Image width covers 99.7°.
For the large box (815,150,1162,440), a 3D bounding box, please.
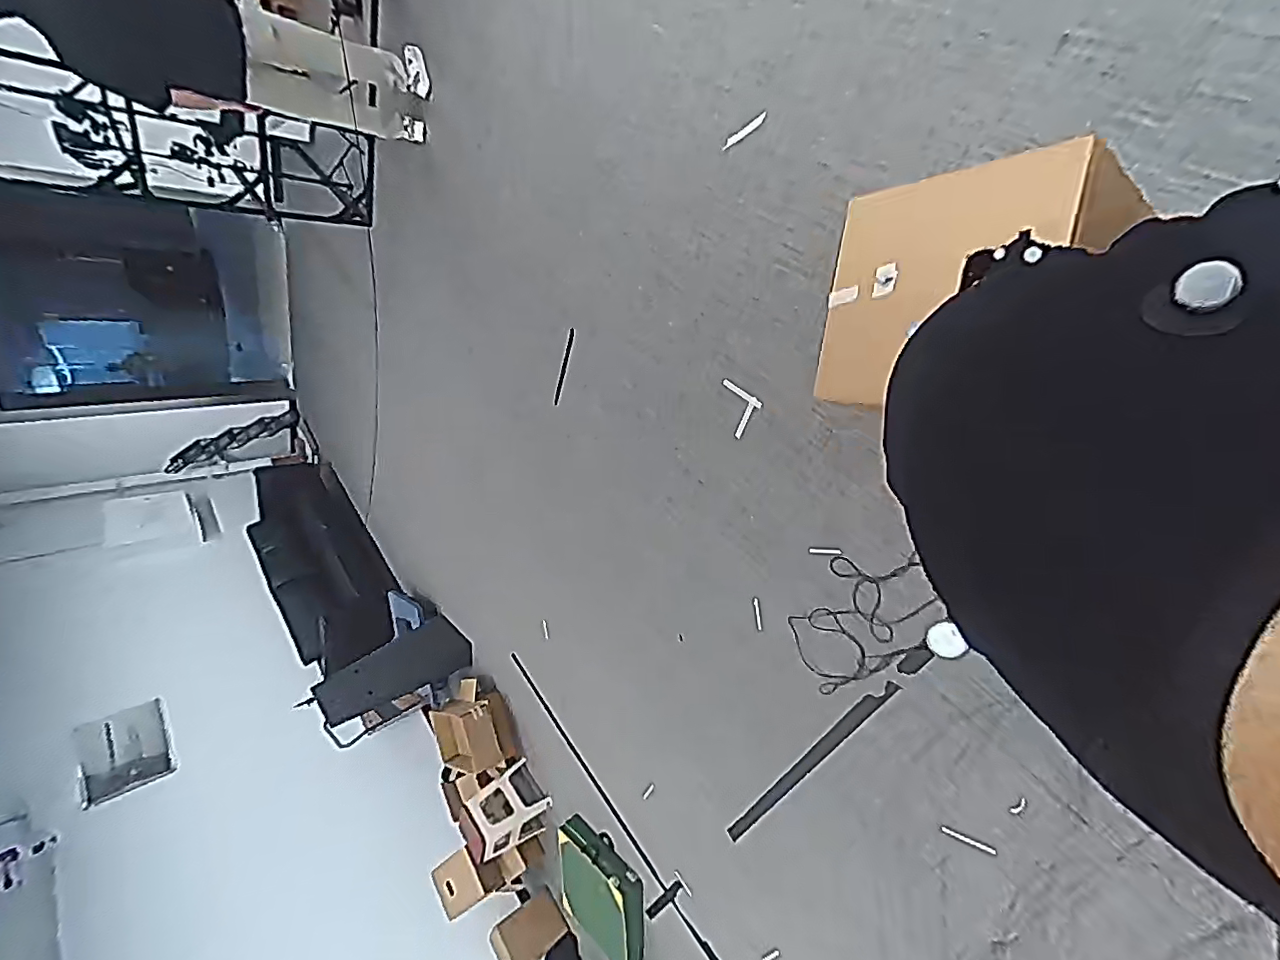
[{"bbox_3d":[0.546,-0.252,0.865,0.320,0.408,0.320,22,104,52],"label":"large box"}]
